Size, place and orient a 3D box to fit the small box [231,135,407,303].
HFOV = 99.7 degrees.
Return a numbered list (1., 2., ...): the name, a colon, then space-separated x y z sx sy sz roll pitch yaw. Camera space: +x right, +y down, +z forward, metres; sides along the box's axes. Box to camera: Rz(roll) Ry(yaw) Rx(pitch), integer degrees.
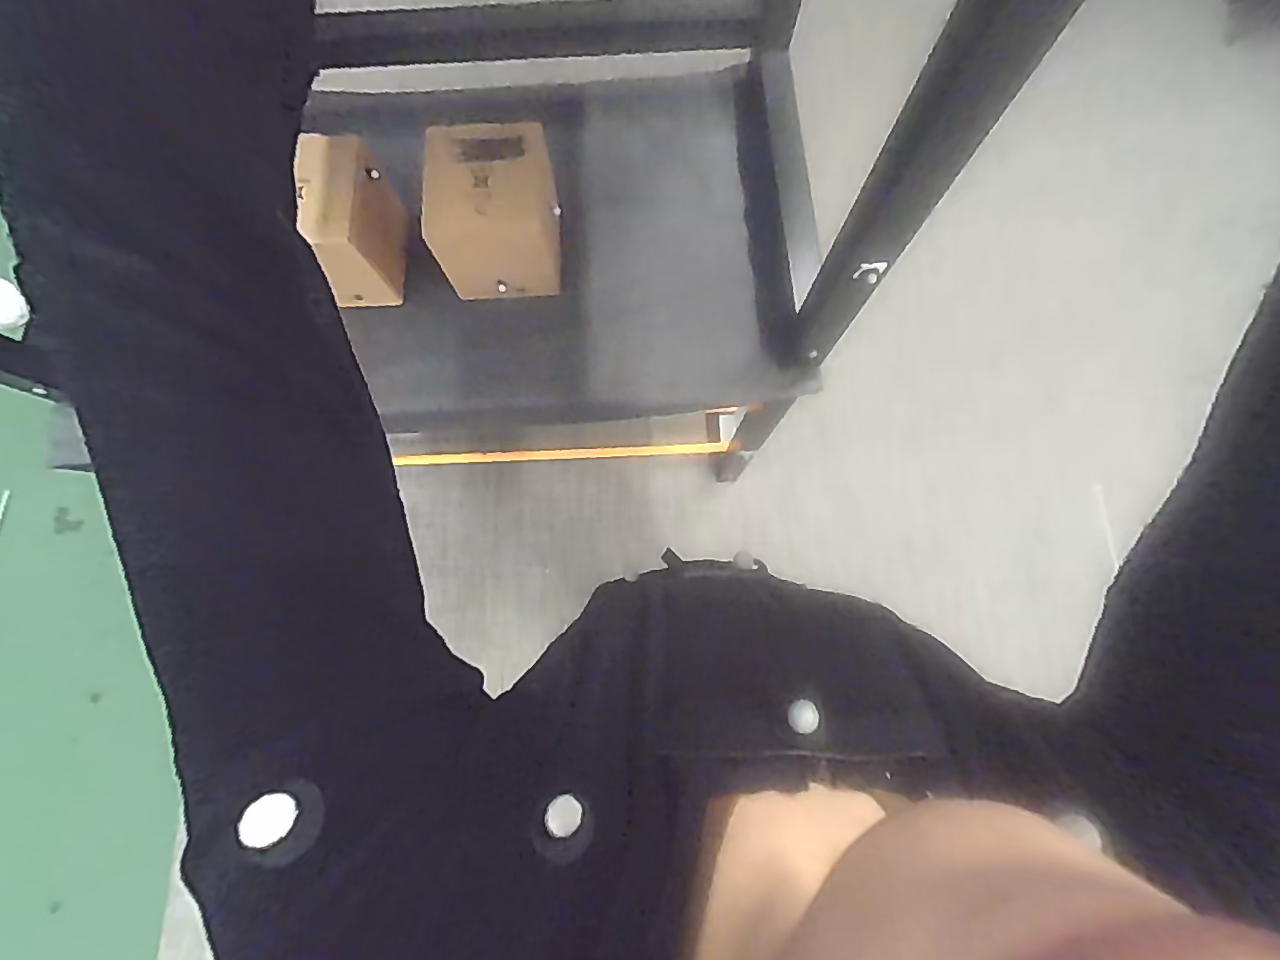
1. small box: -0.475 -0.386 0.828 0.168 0.176 0.179 -2 77 0
